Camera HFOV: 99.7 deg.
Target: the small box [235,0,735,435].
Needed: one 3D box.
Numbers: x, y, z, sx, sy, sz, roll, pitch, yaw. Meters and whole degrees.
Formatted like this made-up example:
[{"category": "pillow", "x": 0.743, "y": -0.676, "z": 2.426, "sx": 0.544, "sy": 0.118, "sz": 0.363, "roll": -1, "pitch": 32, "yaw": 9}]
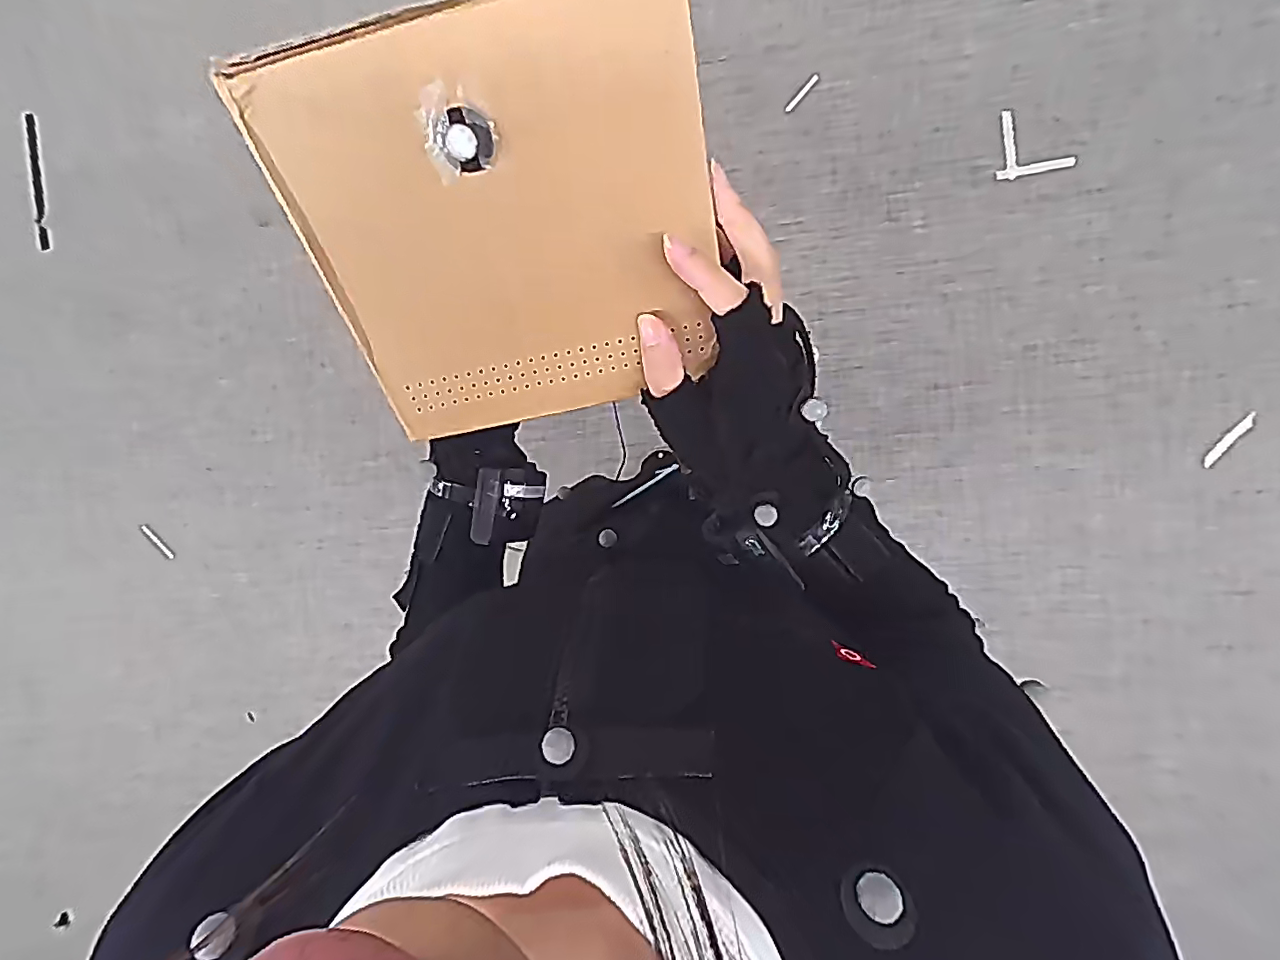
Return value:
[{"category": "small box", "x": -0.053, "y": -0.143, "z": 0.302, "sx": 0.179, "sy": 0.168, "sz": 0.176, "roll": -11, "pitch": 127, "yaw": 6}]
